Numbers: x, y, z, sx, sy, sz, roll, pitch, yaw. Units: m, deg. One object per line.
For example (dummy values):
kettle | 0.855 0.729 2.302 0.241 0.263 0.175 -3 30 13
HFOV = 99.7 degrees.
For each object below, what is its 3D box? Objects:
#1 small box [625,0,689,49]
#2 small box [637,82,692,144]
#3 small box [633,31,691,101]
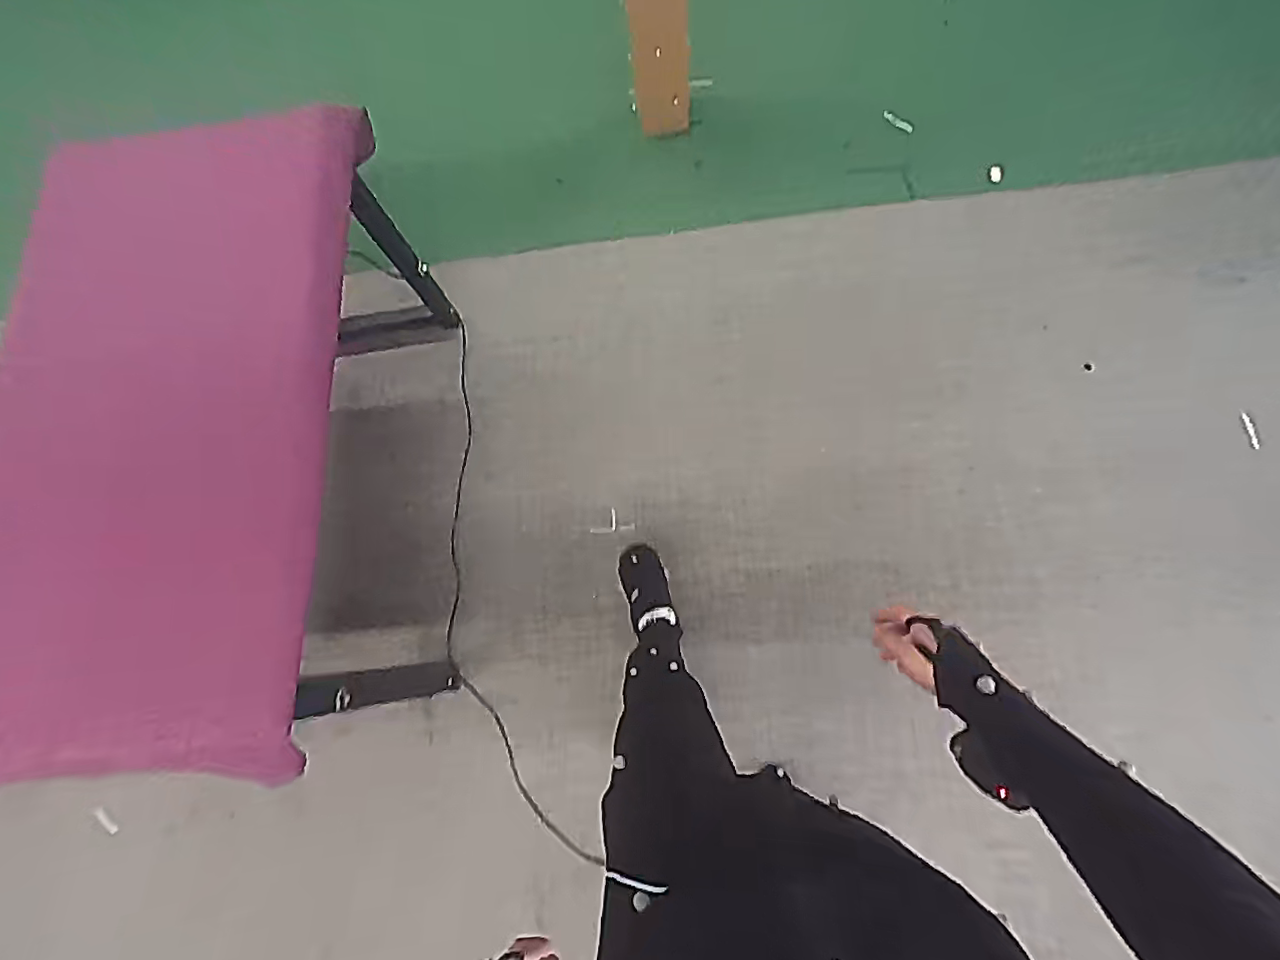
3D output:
small box | 0.046 -1.423 1.600 0.179 0.176 0.168 -10 73 3
small box | 0.084 -1.330 1.909 0.179 0.176 0.168 -9 72 3
small box | 0.069 -1.378 1.755 0.179 0.176 0.168 -8 72 4
